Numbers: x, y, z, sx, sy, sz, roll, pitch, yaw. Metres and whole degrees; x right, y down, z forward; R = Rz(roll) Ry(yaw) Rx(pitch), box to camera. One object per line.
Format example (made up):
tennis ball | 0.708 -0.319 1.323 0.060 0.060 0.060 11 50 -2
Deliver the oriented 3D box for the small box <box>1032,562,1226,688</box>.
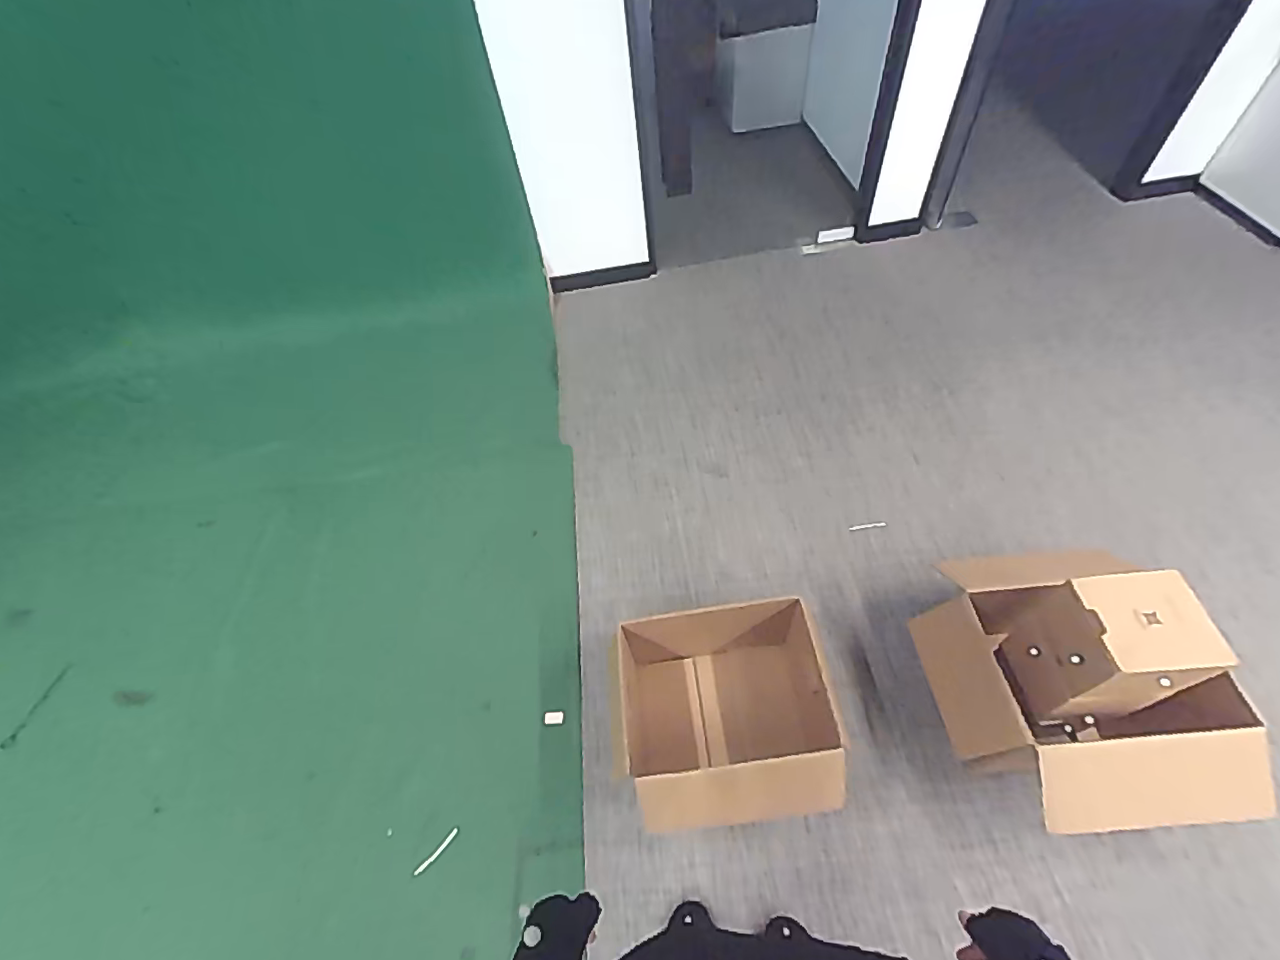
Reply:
small box | 0.849 0.265 0.970 0.179 0.176 0.168 -7 55 4
